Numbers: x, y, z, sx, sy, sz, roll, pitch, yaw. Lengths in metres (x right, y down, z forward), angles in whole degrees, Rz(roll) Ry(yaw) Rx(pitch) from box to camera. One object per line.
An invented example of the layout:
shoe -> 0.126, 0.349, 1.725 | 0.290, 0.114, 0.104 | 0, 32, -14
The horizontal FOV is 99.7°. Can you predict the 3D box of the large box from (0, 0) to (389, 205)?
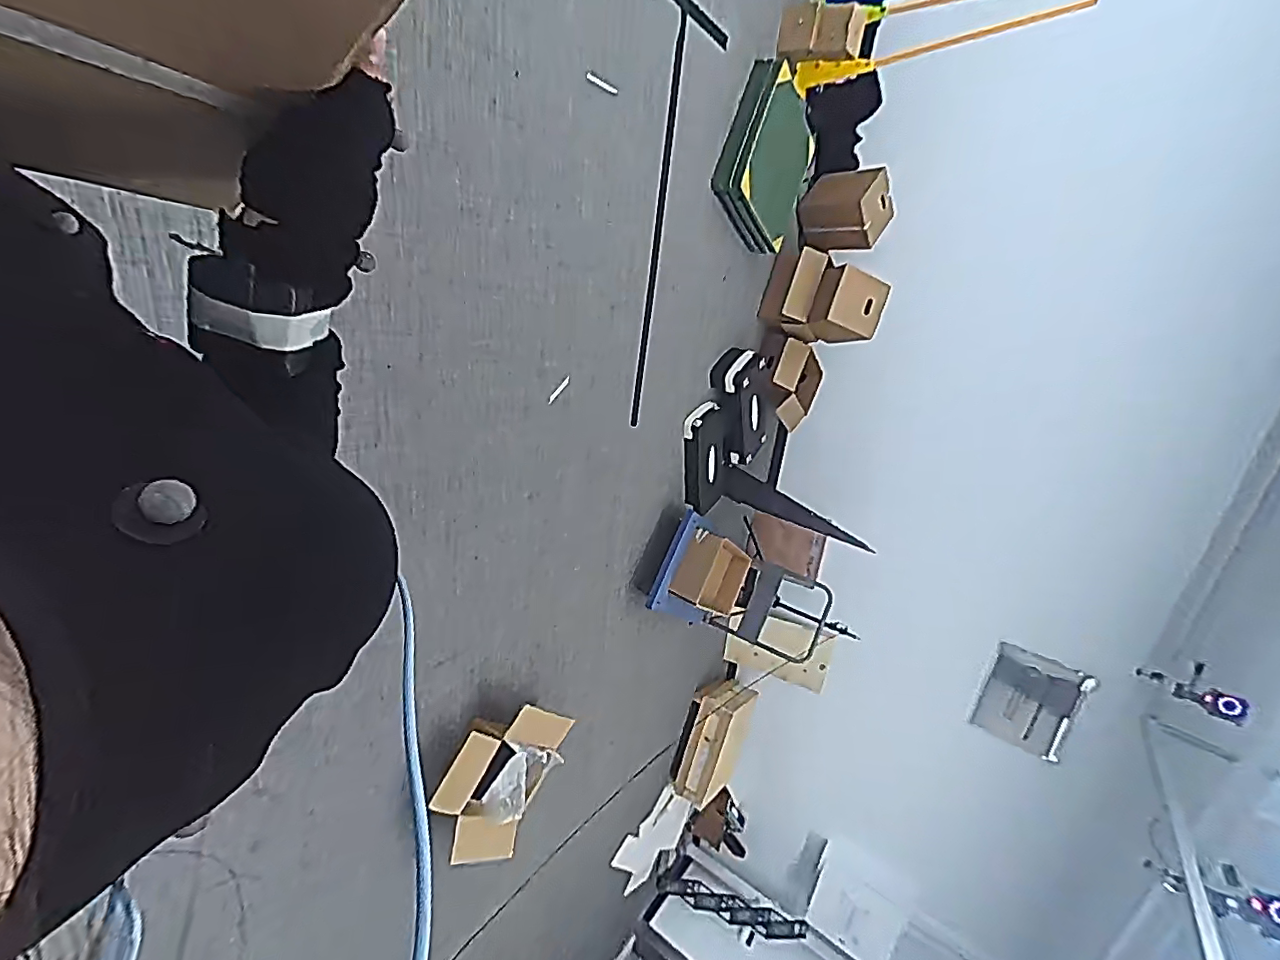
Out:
large box -> -0.331, -0.332, 0.142 | 0.408, 0.320, 0.320 | -10, 98, -49
